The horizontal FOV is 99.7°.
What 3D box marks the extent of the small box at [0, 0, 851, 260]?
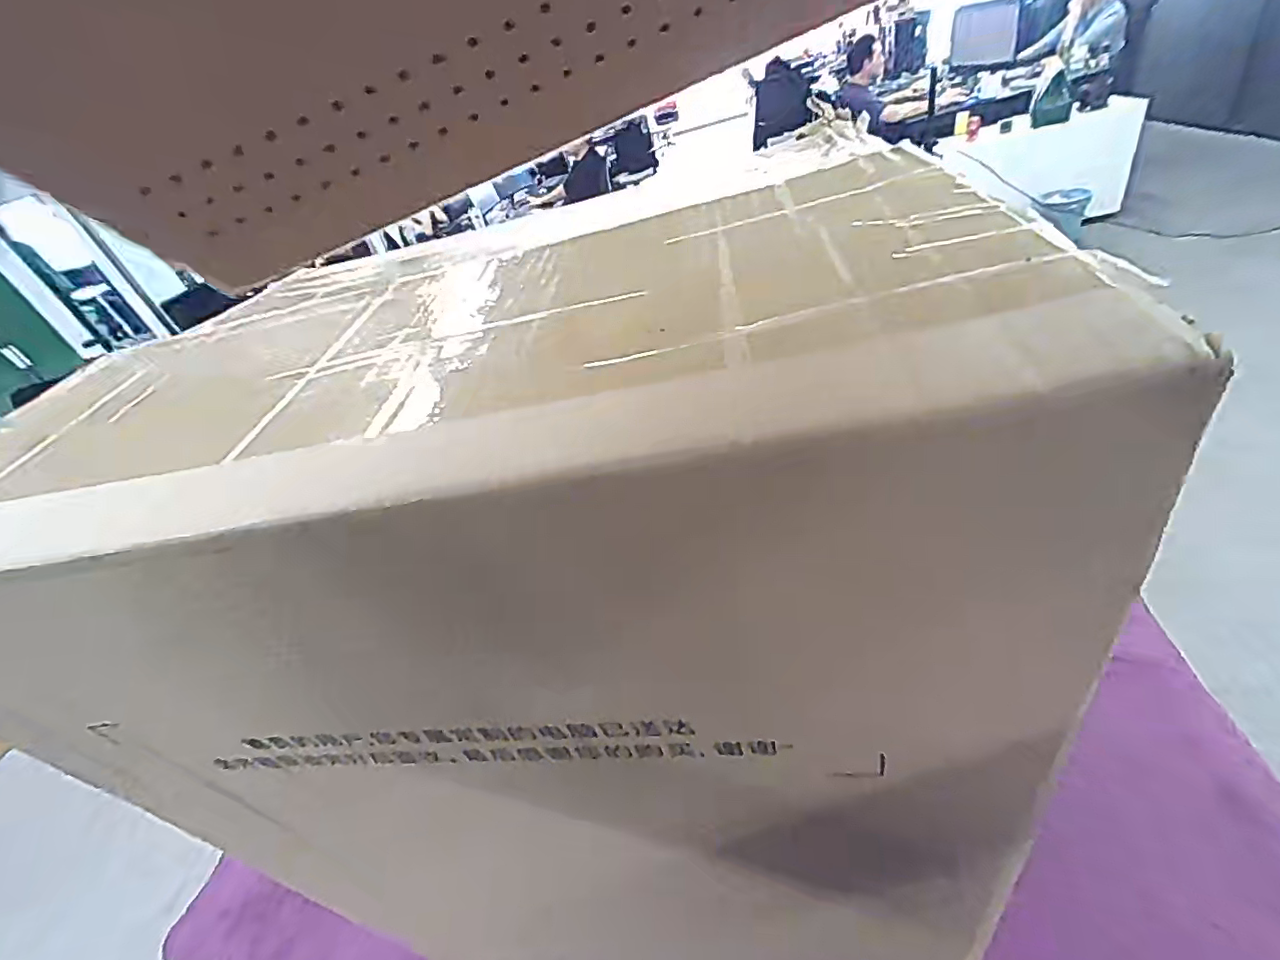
[{"bbox_3d":[-0.050,-0.158,0.052,0.179,0.168,0.176,-20,-9,6],"label":"small box"}]
